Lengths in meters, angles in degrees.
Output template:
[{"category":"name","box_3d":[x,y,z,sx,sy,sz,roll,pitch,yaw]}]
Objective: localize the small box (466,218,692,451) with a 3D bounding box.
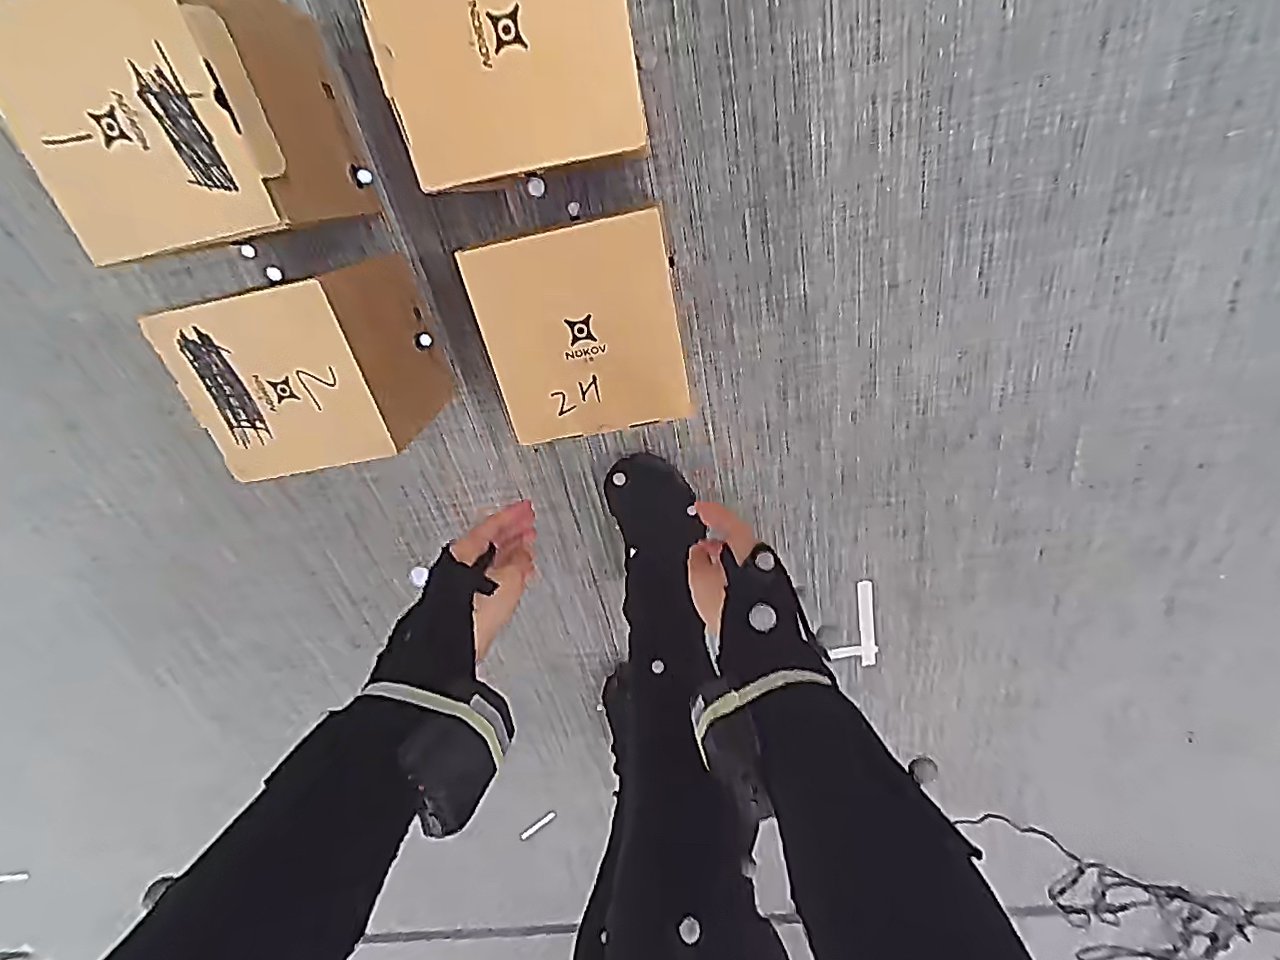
[{"category":"small box","box_3d":[-0.046,-0.152,0.537,0.168,0.176,0.179,-9,119,7]}]
